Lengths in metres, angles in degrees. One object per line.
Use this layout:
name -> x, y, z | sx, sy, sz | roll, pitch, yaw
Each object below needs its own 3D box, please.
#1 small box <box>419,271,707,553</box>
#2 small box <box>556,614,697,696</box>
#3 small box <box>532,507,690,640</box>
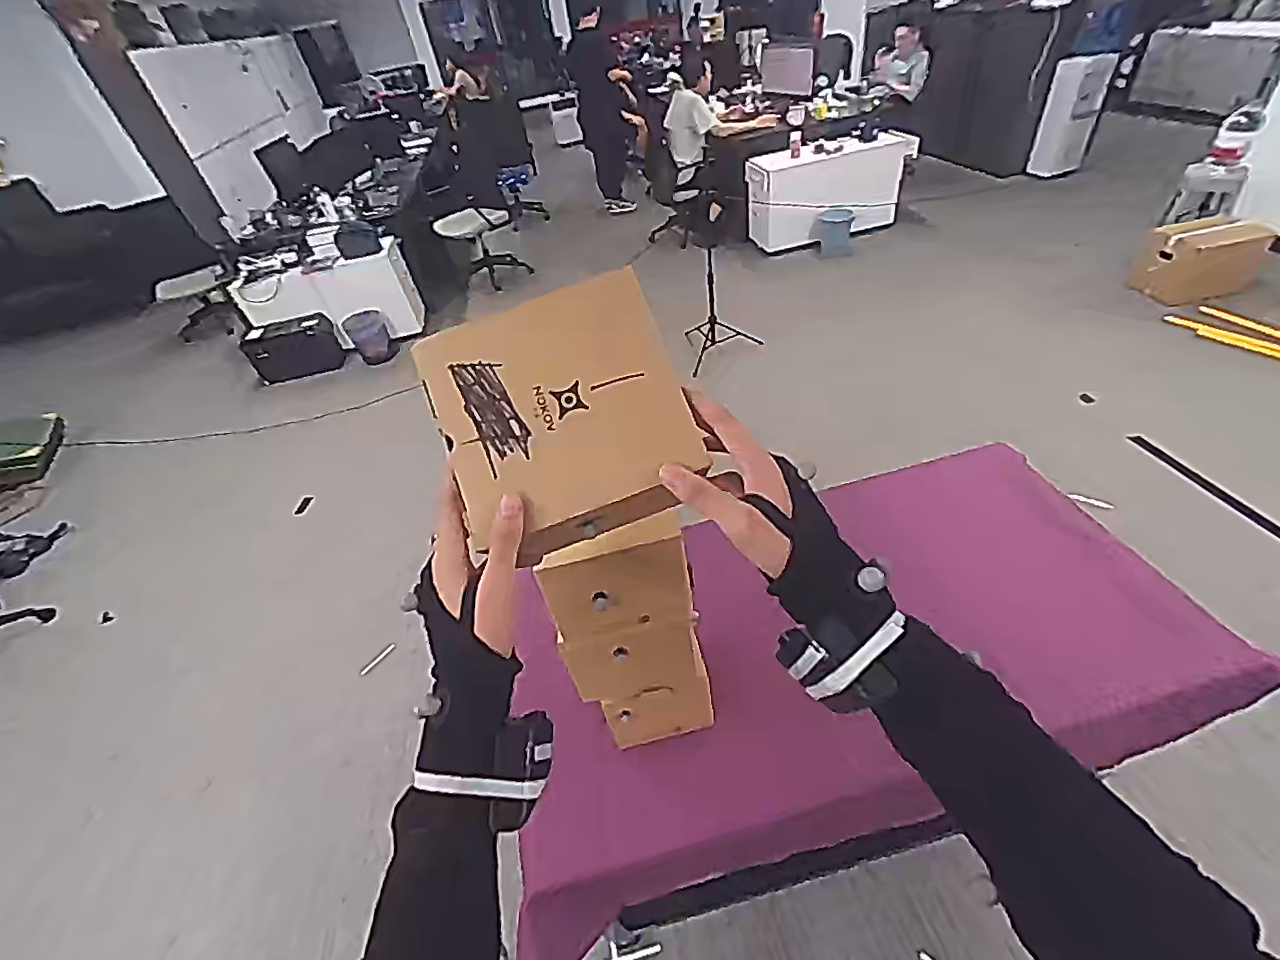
small box -> -0.056, -0.041, 0.471 | 0.179, 0.176, 0.168 | -20, 80, -3
small box -> -0.017, 0.202, 0.807 | 0.179, 0.176, 0.168 | -9, 42, 2
small box -> -0.039, 0.085, 0.696 | 0.168, 0.176, 0.179 | -14, 41, -3
